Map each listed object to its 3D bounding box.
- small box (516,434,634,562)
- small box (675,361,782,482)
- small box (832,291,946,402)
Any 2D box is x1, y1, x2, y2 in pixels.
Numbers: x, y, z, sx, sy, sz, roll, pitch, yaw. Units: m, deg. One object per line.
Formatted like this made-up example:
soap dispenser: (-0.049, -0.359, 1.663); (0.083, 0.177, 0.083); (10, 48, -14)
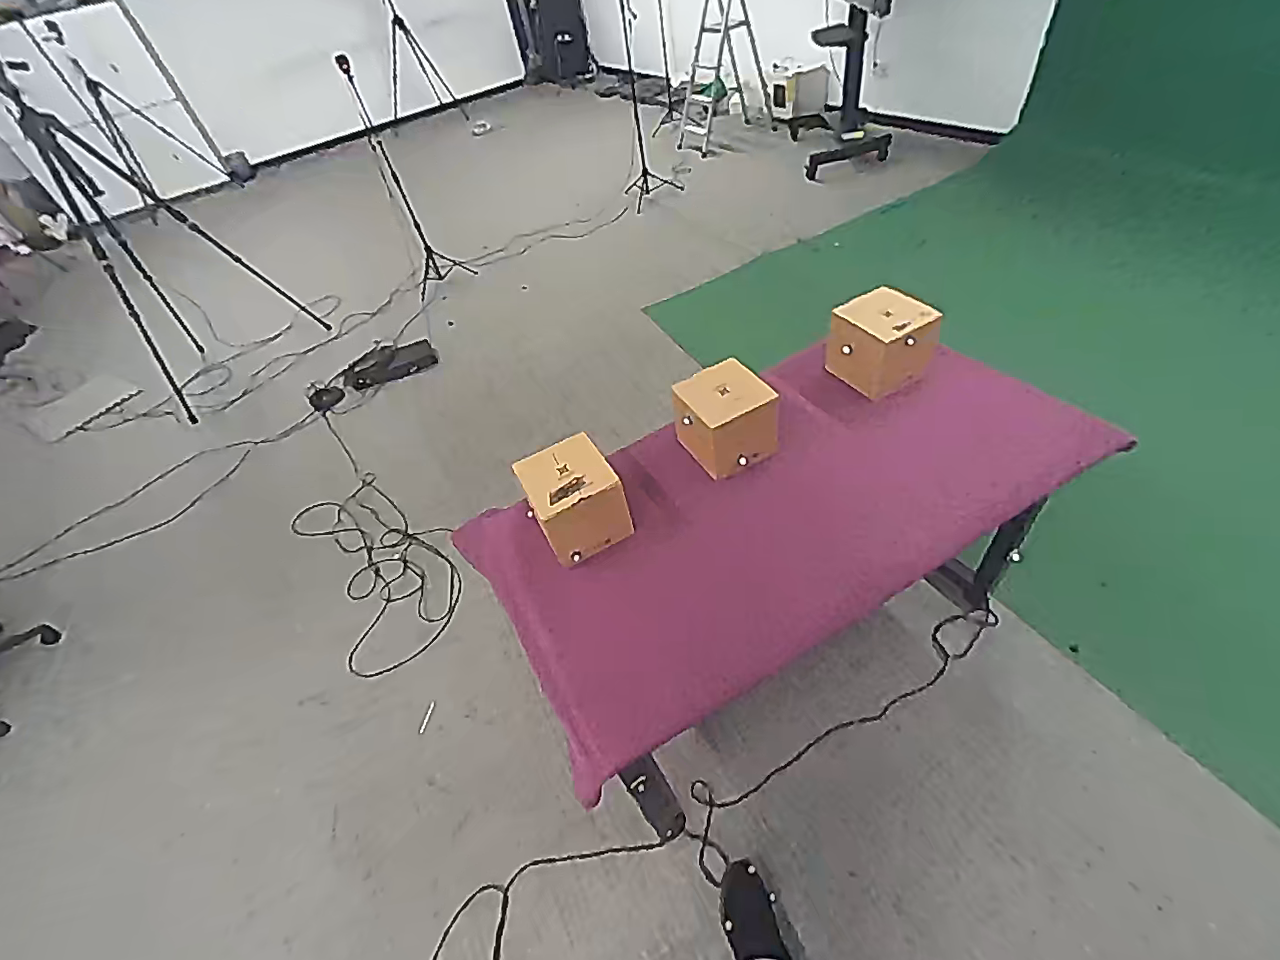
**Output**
small box: (-0.128, 0.044, 1.106); (0.168, 0.176, 0.179); (-26, 48, -13)
small box: (0.195, -0.128, 1.200); (0.168, 0.176, 0.179); (-26, 48, -11)
small box: (0.579, -0.316, 1.287); (0.168, 0.176, 0.179); (-27, 47, -12)
